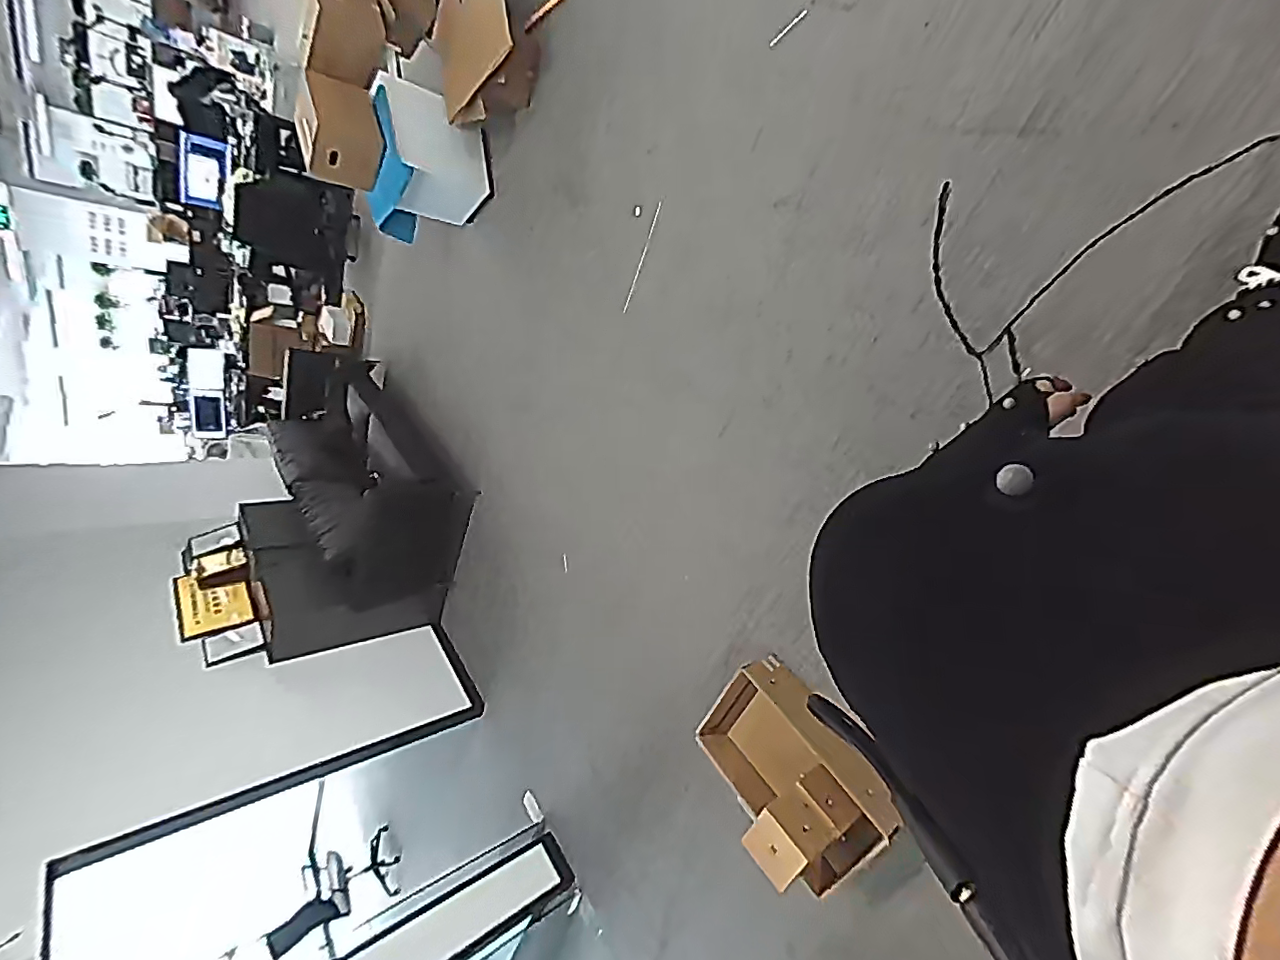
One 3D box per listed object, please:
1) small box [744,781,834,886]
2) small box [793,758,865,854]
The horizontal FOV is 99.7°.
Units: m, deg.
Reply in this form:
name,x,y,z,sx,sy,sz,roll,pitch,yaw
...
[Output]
name,x,y,z,sx,sy,sz,roll,pitch,yaw
small box,0.450,1.046,1.616,0.168,0.176,0.179,42,123,37
small box,0.576,1.028,1.717,0.179,0.176,0.168,46,124,38
